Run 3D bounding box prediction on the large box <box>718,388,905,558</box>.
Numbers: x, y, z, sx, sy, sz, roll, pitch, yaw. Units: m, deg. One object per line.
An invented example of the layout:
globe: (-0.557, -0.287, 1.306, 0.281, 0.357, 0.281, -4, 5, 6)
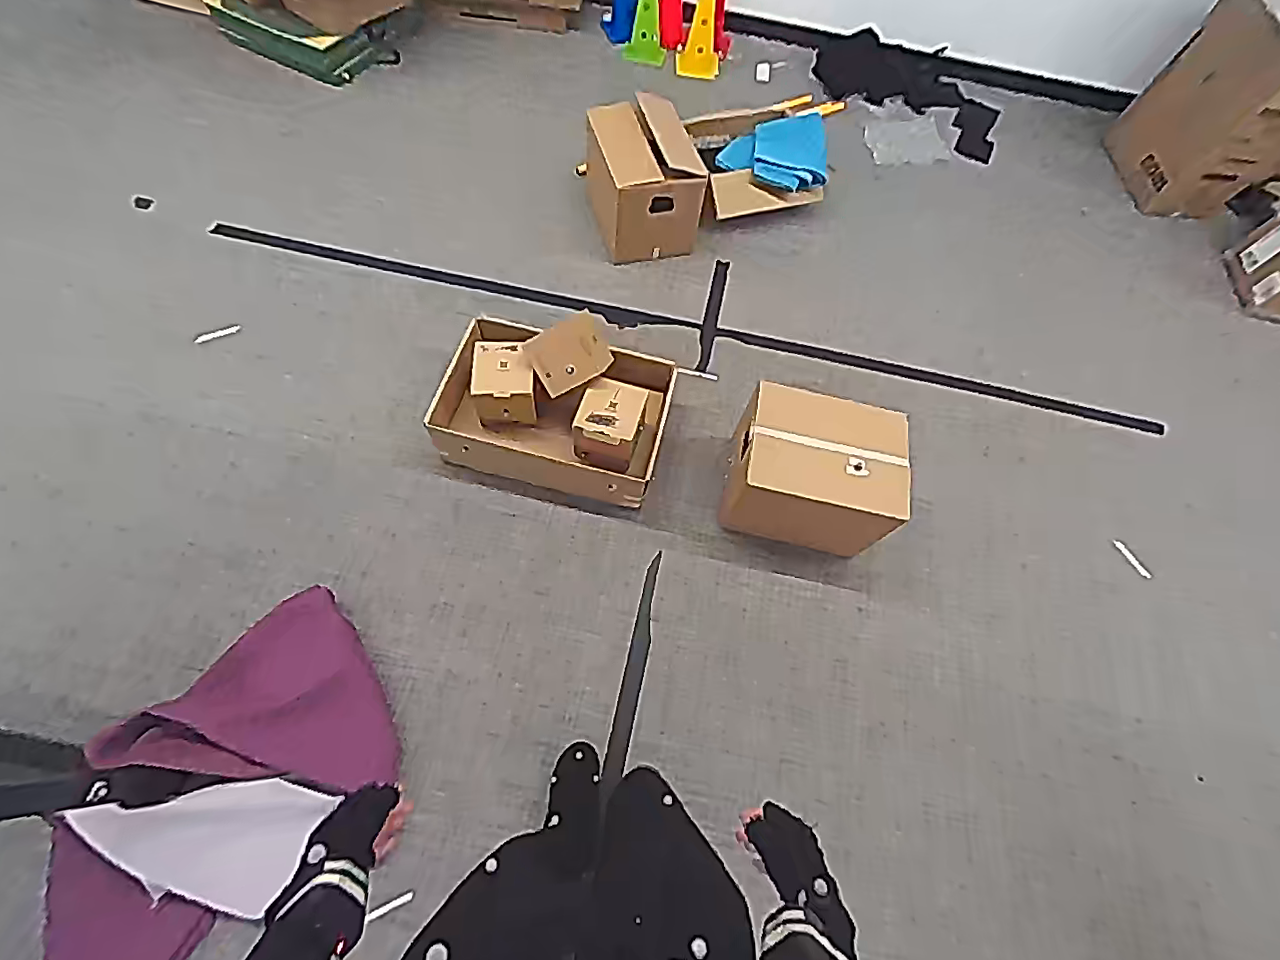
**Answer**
large box: (0.457, -0.008, 1.500, 0.408, 0.320, 0.320, 13, 64, -1)
